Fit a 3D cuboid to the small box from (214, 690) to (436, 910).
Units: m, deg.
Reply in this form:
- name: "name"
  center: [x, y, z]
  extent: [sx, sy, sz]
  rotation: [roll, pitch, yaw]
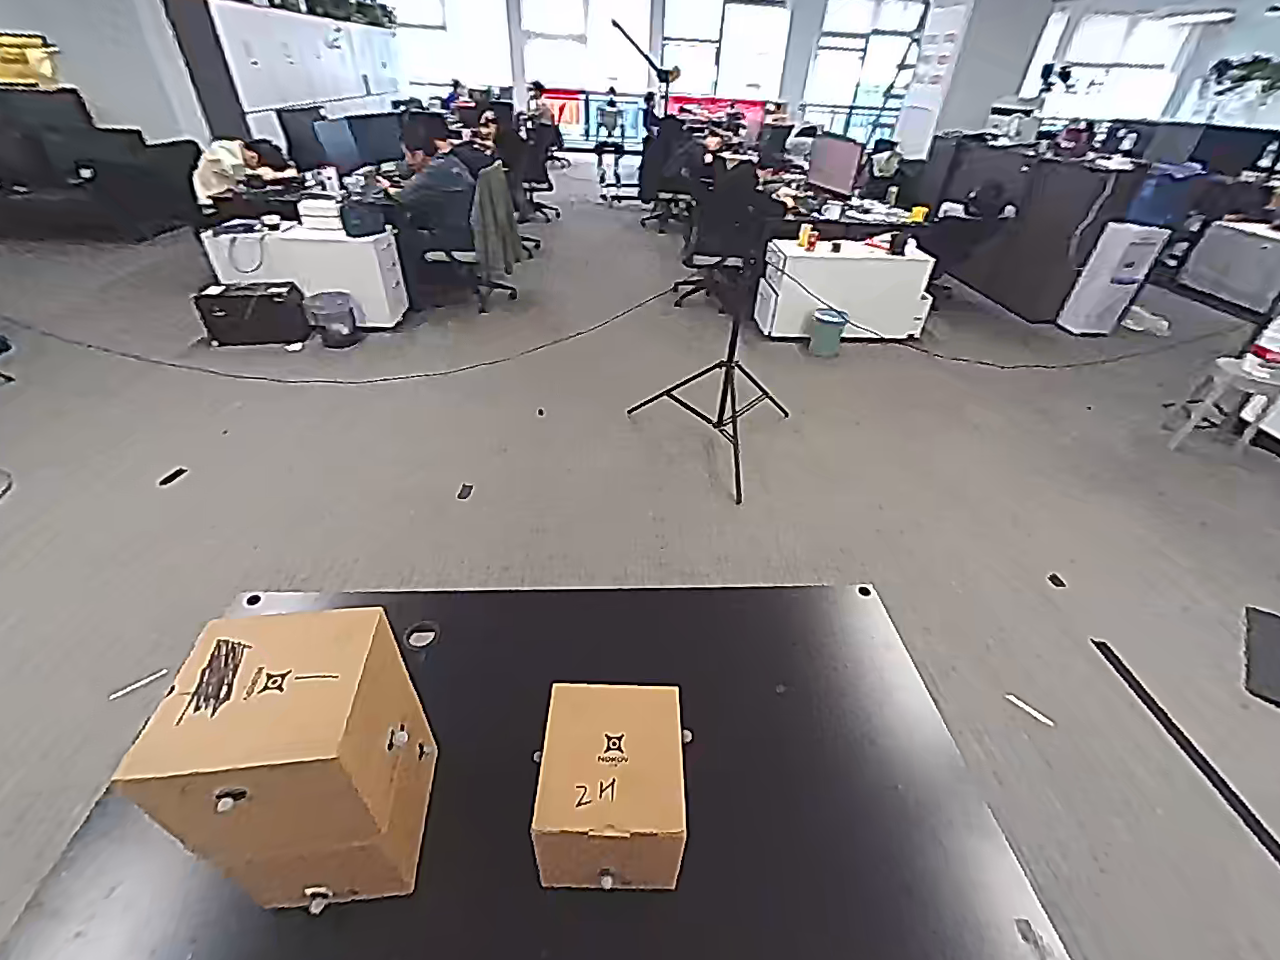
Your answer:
- name: "small box"
  center: [-0.358, 0.386, 0.661]
  extent: [0.168, 0.176, 0.179]
  rotation: [-3, 39, -7]

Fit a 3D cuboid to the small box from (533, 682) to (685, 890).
- name: "small box"
  center: [-0.035, 0.384, 0.685]
  extent: [0.168, 0.176, 0.179]
  rotation: [2, 37, -1]

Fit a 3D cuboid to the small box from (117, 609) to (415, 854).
- name: "small box"
  center: [-0.353, 0.257, 0.558]
  extent: [0.179, 0.176, 0.168]
  rotation: [-3, 37, -8]
